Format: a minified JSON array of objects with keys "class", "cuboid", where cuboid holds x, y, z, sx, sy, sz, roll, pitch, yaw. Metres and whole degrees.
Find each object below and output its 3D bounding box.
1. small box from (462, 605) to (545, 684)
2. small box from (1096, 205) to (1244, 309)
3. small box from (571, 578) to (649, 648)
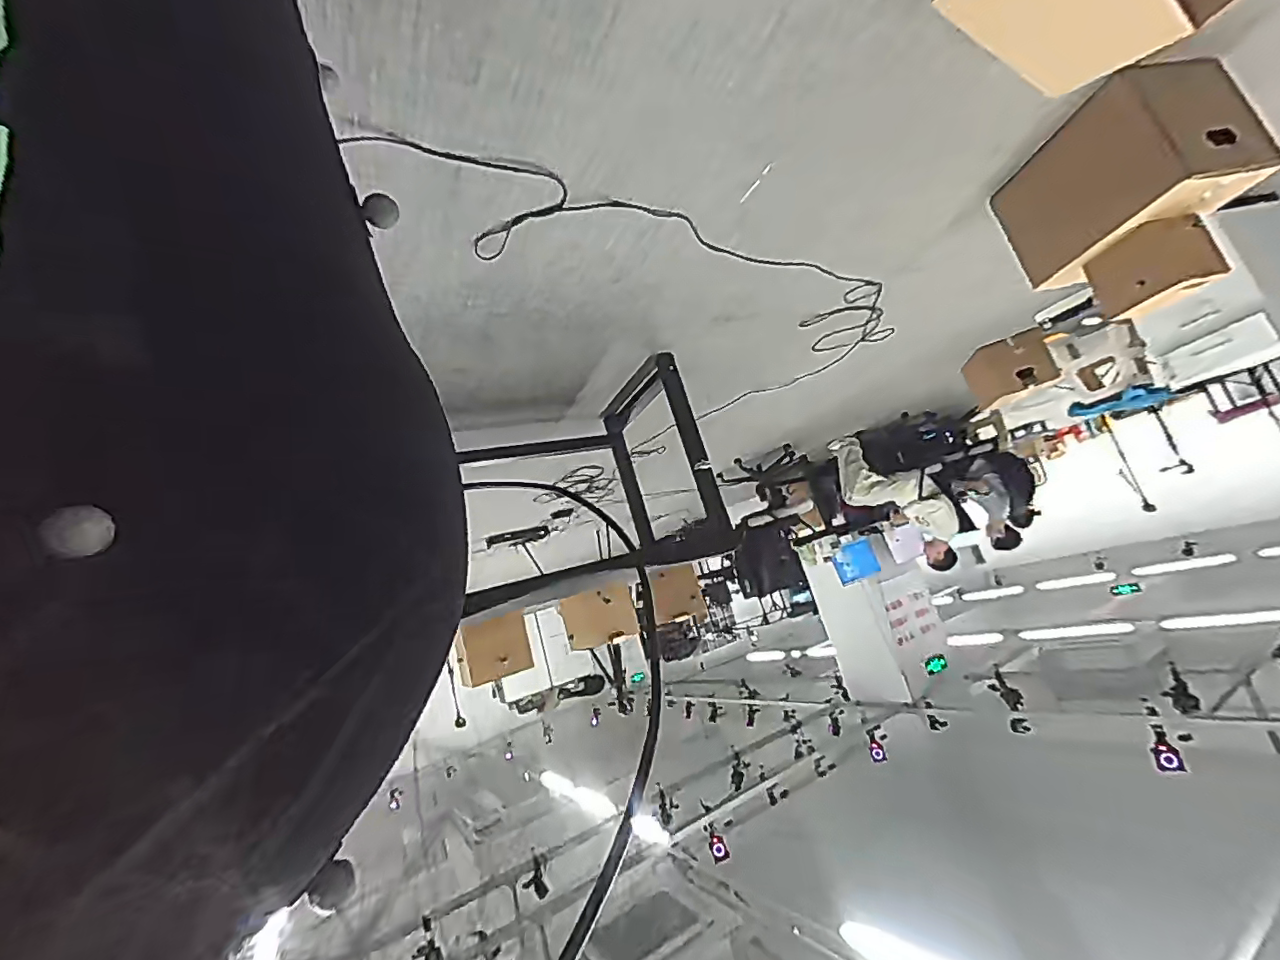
[{"class":"small box","cuboid":[-0.390,0.464,1.525,0.179,0.176,0.168,-11,168,-29]},{"class":"small box","cuboid":[1.297,-0.556,1.339,0.168,0.176,0.179,-13,167,-12]},{"class":"small box","cuboid":[-0.101,0.409,1.676,0.168,0.176,0.179,-10,166,-33]}]
